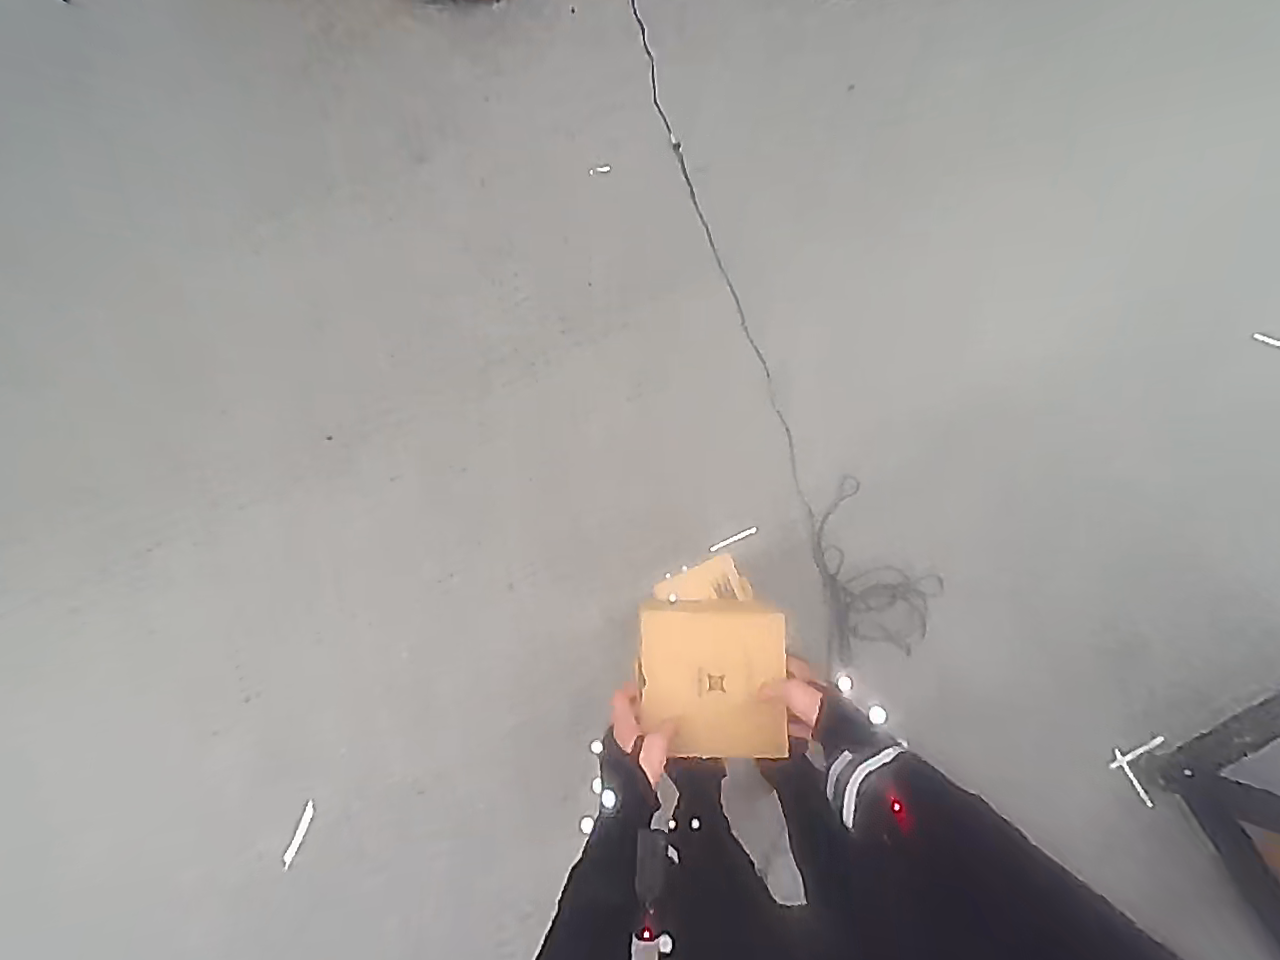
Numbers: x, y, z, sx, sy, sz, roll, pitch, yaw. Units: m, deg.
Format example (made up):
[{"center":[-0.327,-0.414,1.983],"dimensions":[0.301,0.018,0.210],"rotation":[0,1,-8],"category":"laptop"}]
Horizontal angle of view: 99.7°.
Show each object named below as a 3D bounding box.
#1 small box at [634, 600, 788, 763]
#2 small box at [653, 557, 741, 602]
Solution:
[{"center":[0.083,0.249,0.703],"dimensions":[0.179,0.176,0.168],"rotation":[0,83,0],"category":"small box"},{"center":[0.147,0.305,1.331],"dimensions":[0.179,0.176,0.168],"rotation":[-27,78,-3],"category":"small box"}]
